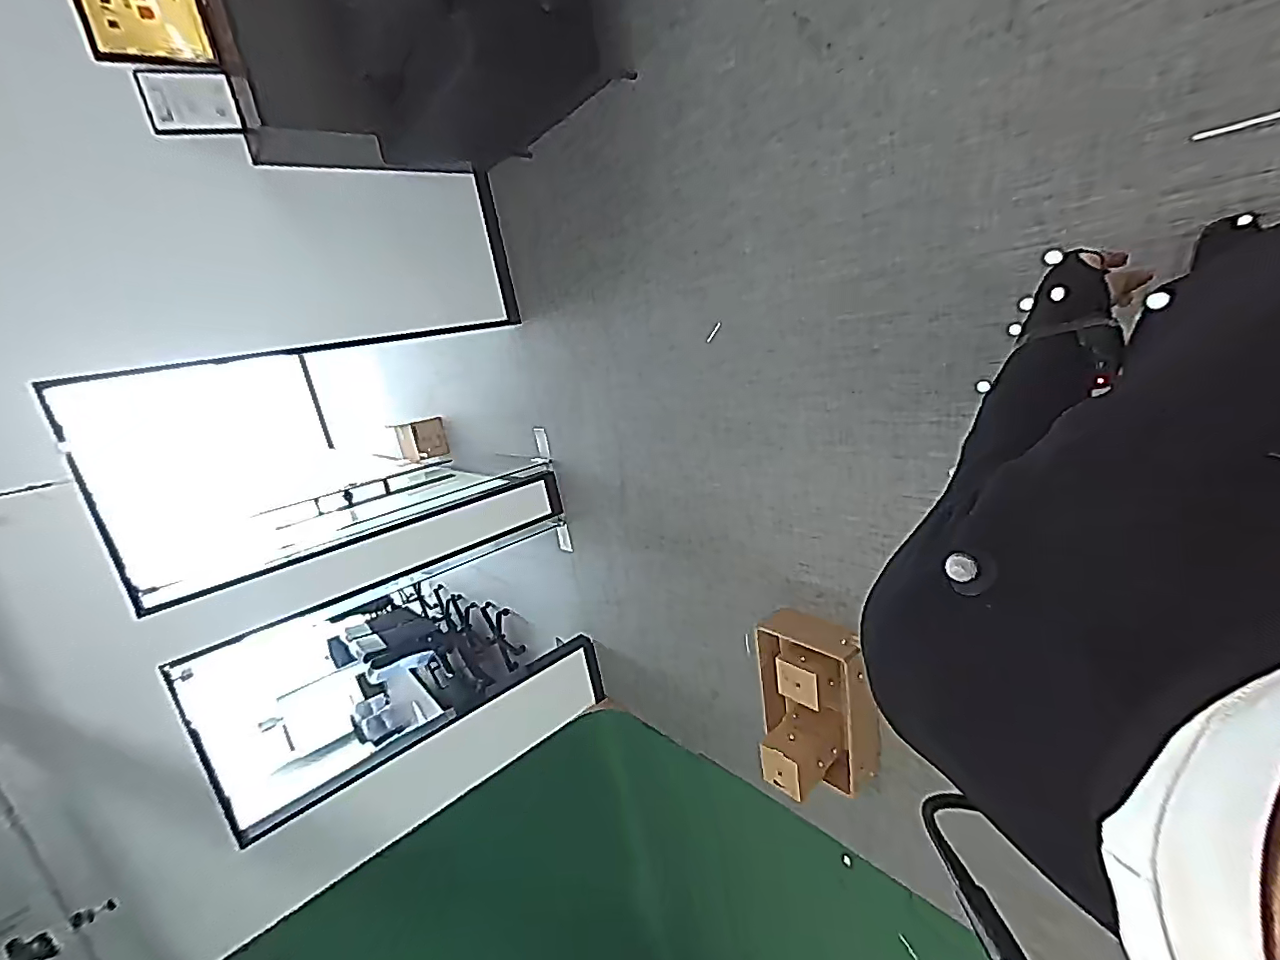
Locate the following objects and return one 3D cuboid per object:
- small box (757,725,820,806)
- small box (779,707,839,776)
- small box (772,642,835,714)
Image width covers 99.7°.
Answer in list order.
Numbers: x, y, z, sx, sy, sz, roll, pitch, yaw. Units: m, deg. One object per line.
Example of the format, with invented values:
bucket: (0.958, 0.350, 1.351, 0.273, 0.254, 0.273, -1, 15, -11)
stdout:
small box: (0.562, 1.065, 2.038, 0.168, 0.176, 0.179, 10, 113, 49)
small box: (0.677, 1.022, 2.147, 0.179, 0.176, 0.168, 10, 113, 49)
small box: (0.632, 0.751, 2.072, 0.179, 0.176, 0.168, 11, 115, 48)
